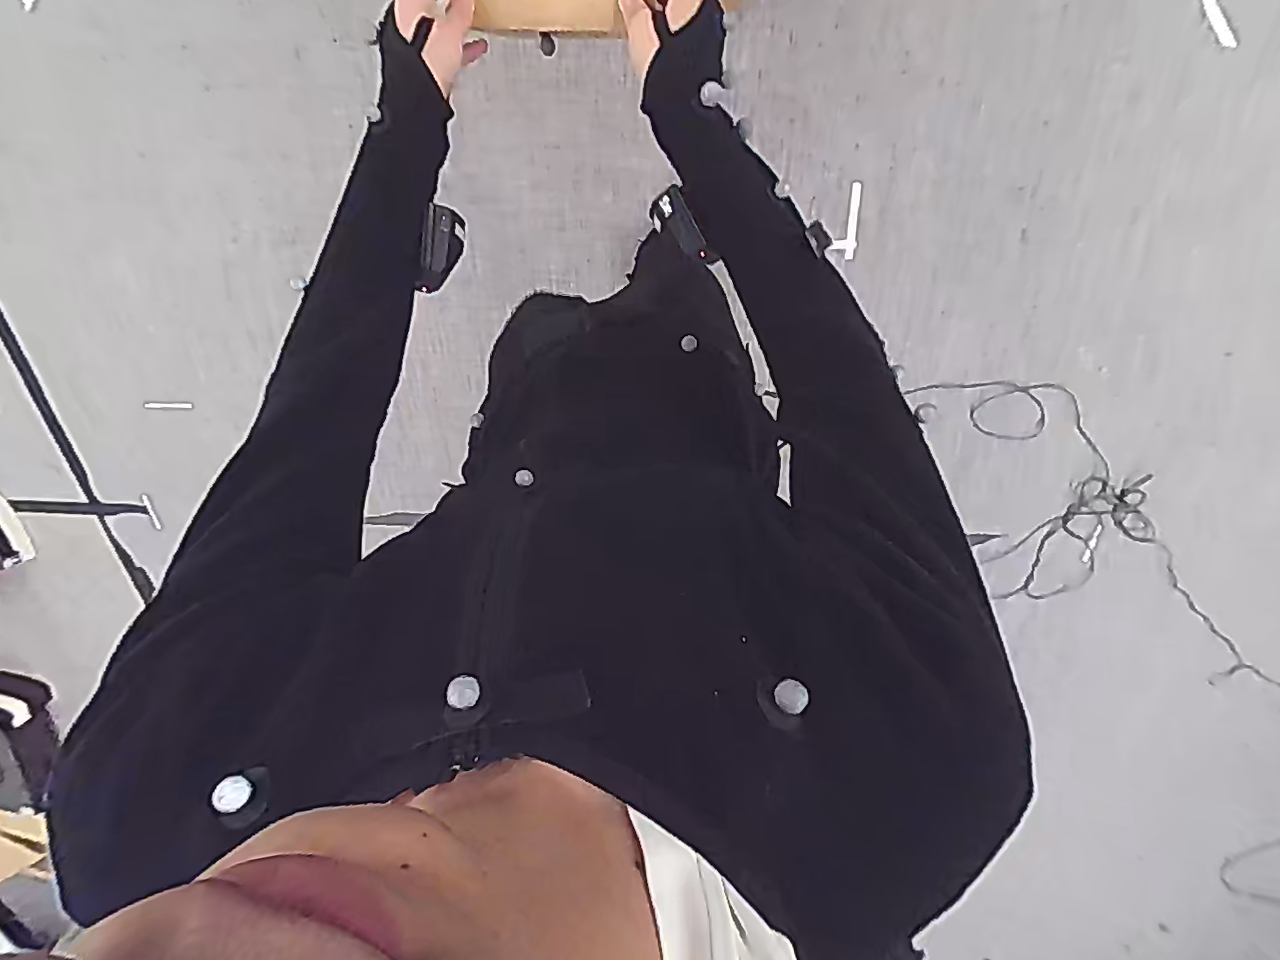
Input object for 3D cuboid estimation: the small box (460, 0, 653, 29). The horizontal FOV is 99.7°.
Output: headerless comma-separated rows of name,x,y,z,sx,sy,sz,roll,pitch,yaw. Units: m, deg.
small box,-0.067,-0.509,0.469,0.168,0.176,0.179,0,126,-1
